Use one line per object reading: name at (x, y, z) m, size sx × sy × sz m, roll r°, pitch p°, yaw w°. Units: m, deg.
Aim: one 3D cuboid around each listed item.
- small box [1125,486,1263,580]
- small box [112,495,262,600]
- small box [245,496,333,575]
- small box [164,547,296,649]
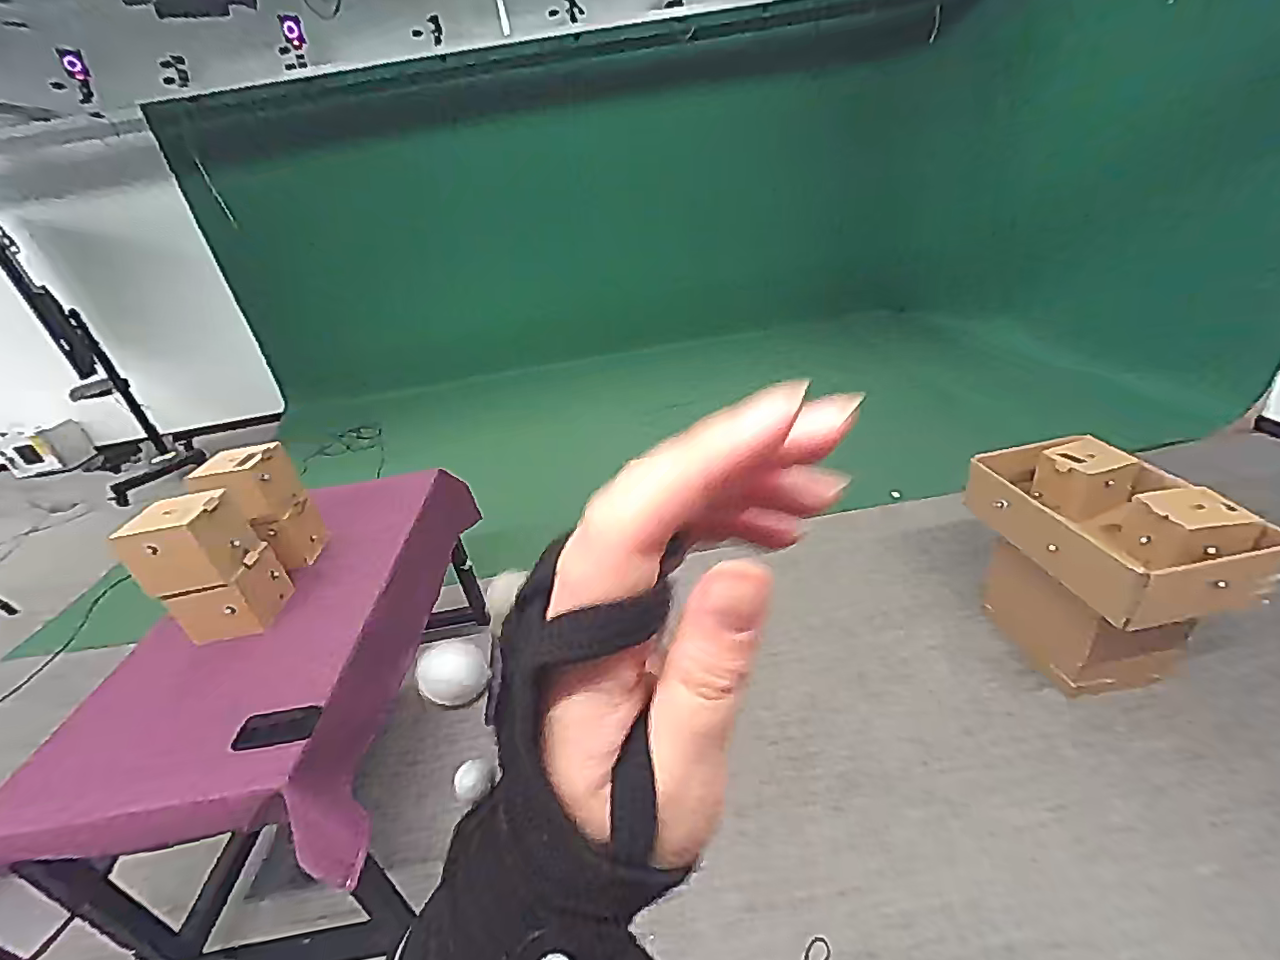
small box at (1.397, 0.138, 1.383) m, size 0.179 × 0.176 × 0.168 m, roll -9°, pitch 29°, yaw 6°
small box at (-1.047, 0.161, 1.269) m, size 0.179 × 0.176 × 0.168 m, roll -11°, pitch 29°, yaw -2°
small box at (-1.048, 0.172, 1.589) m, size 0.179 × 0.176 × 0.168 m, roll -10°, pitch 29°, yaw -1°
small box at (-1.012, 0.296, 1.357) m, size 0.179 × 0.176 × 0.168 m, roll -11°, pitch 28°, yaw -1°
